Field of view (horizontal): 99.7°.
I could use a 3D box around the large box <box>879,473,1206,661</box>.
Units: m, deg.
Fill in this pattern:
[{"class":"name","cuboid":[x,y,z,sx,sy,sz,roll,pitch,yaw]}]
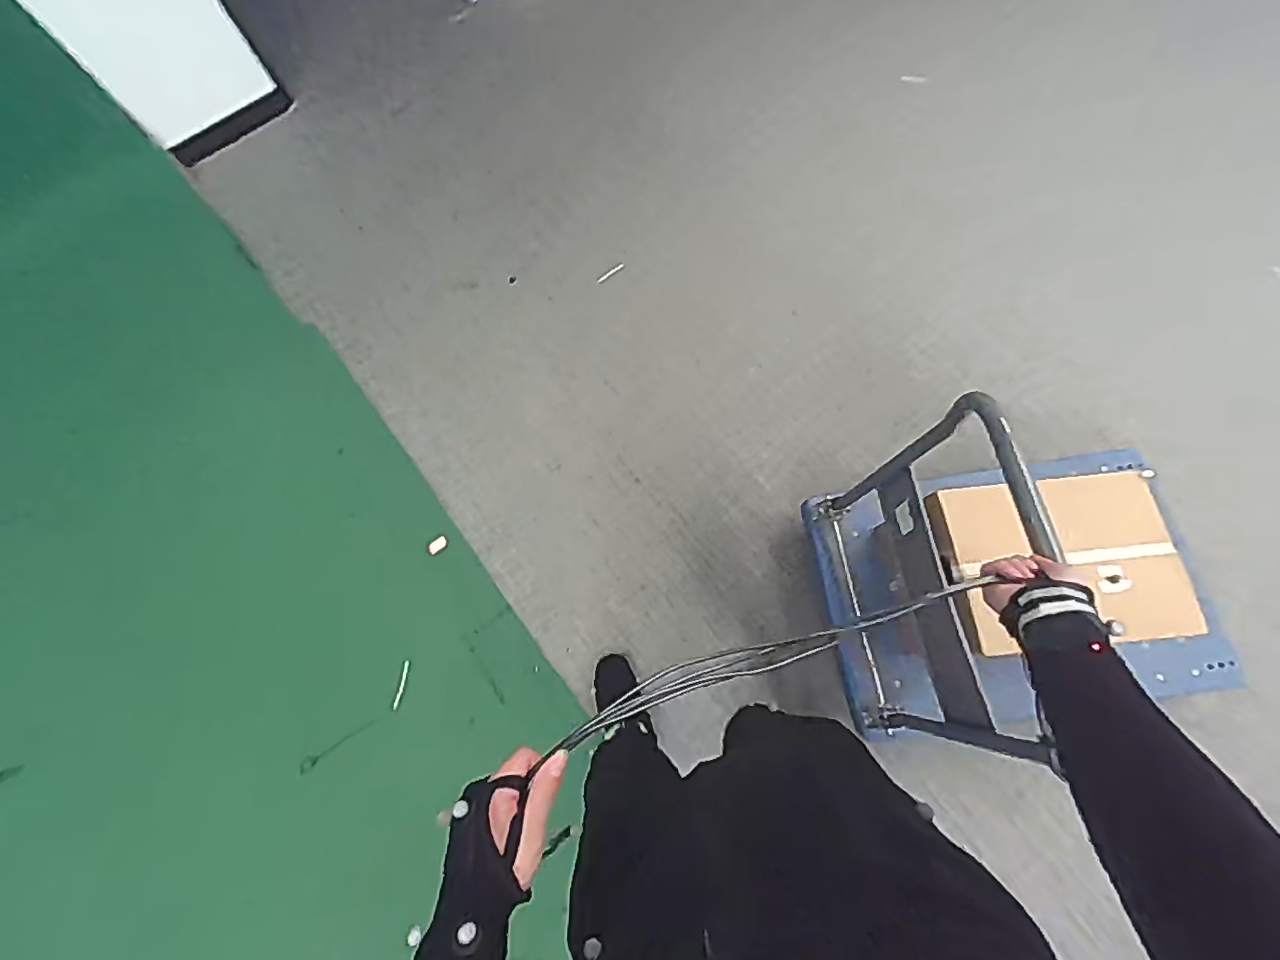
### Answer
[{"class":"large box","cuboid":[0.791,0.198,1.138,0.408,0.320,0.320,-5,72,-1]}]
